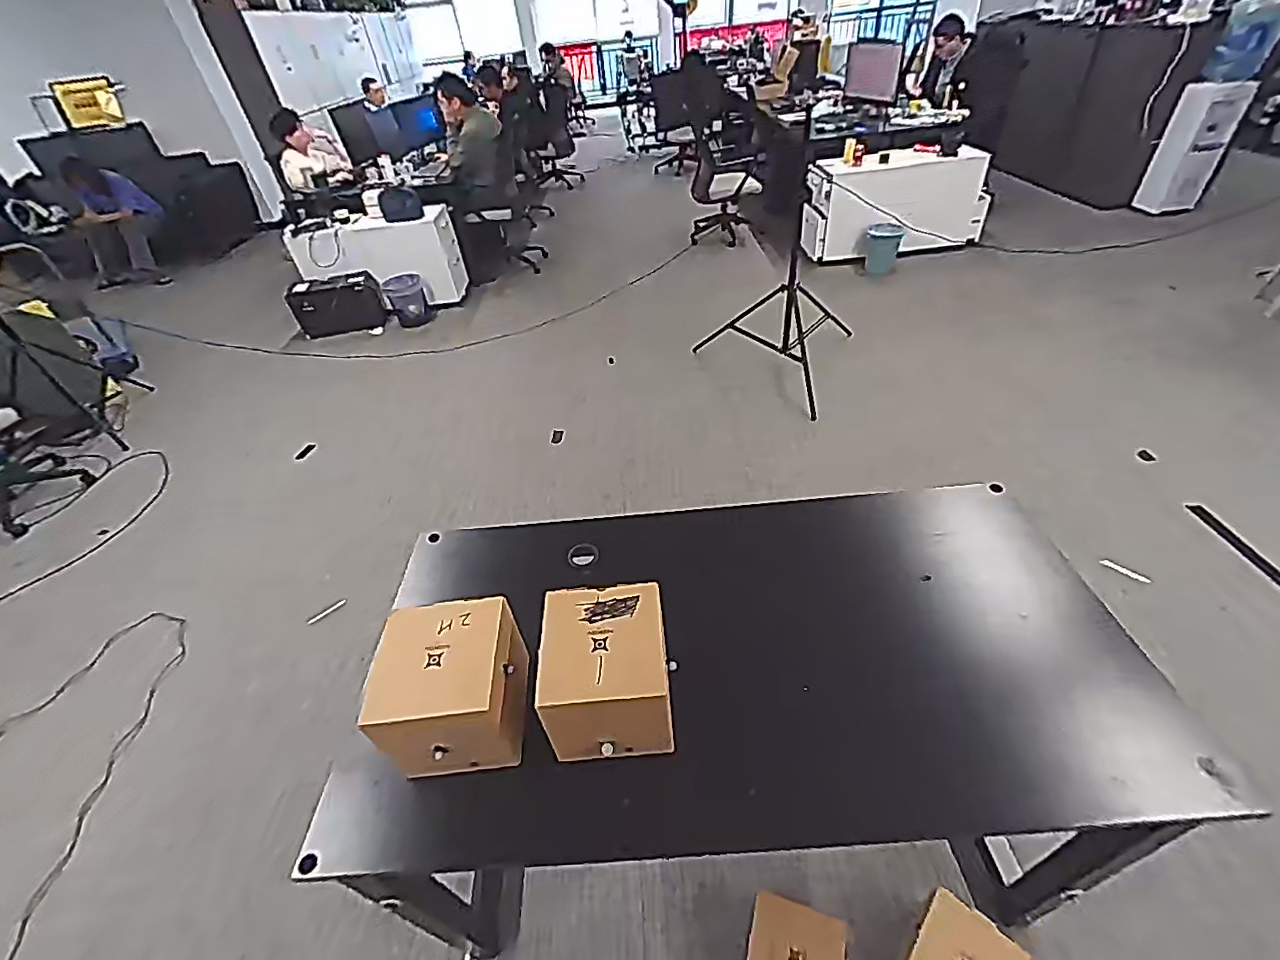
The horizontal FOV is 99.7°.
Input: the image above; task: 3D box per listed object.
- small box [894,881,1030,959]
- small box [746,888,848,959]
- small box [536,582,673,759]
[{"bbox_3d":[0.603,0.931,1.037,0.168,0.176,0.179,26,51,33],"label":"small box"},{"bbox_3d":[0.302,0.949,1.066,0.179,0.176,0.168,8,43,18],"label":"small box"},{"bbox_3d":[-0.044,0.272,0.775,0.168,0.176,0.179,-6,41,2],"label":"small box"}]
